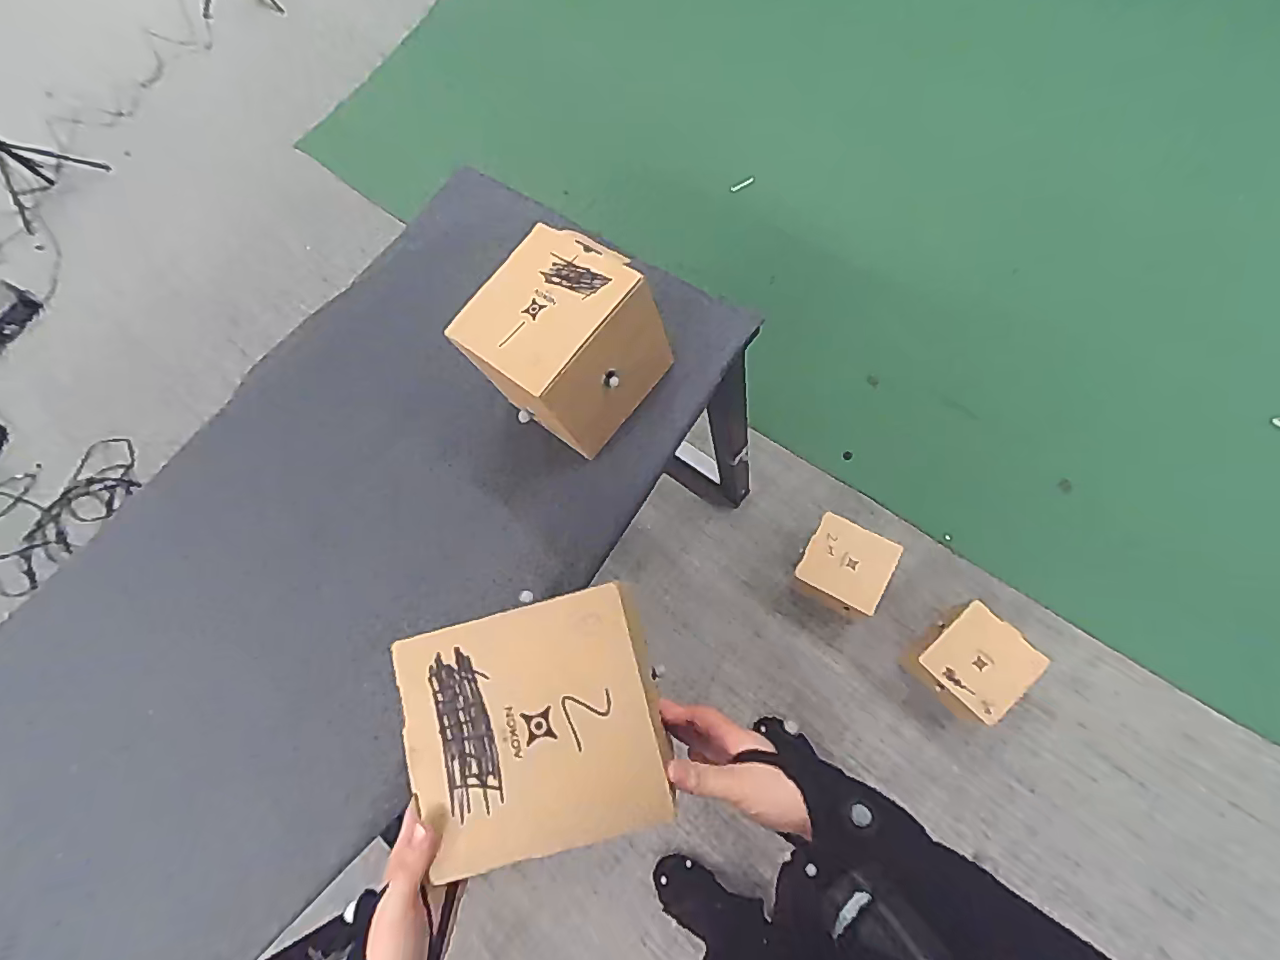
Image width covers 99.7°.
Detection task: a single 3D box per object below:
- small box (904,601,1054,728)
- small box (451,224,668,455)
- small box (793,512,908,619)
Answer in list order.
[{"bbox_3d":[0.677,0.372,1.106,0.179,0.176,0.168,-42,69,-4],"label":"small box"},{"bbox_3d":[-0.082,-0.162,0.660,0.168,0.176,0.179,37,83,25],"label":"small box"},{"bbox_3d":[0.462,0.198,1.212,0.179,0.176,0.168,28,79,19],"label":"small box"}]
